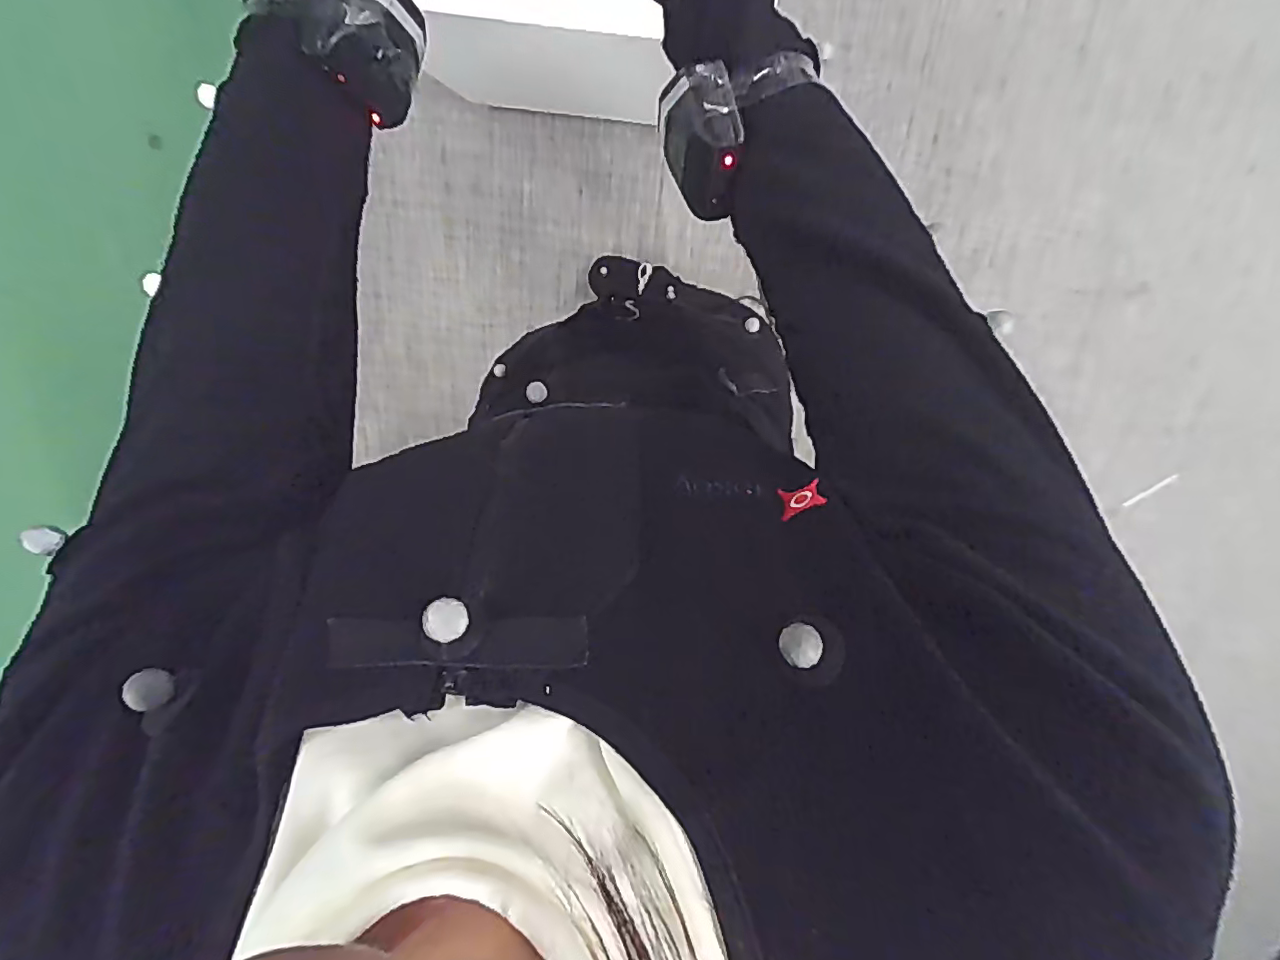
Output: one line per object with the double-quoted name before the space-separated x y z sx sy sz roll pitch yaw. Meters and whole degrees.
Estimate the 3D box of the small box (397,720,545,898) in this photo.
"small box" -0.248 0.497 0.832 0.179 0.176 0.168 8 115 -1
